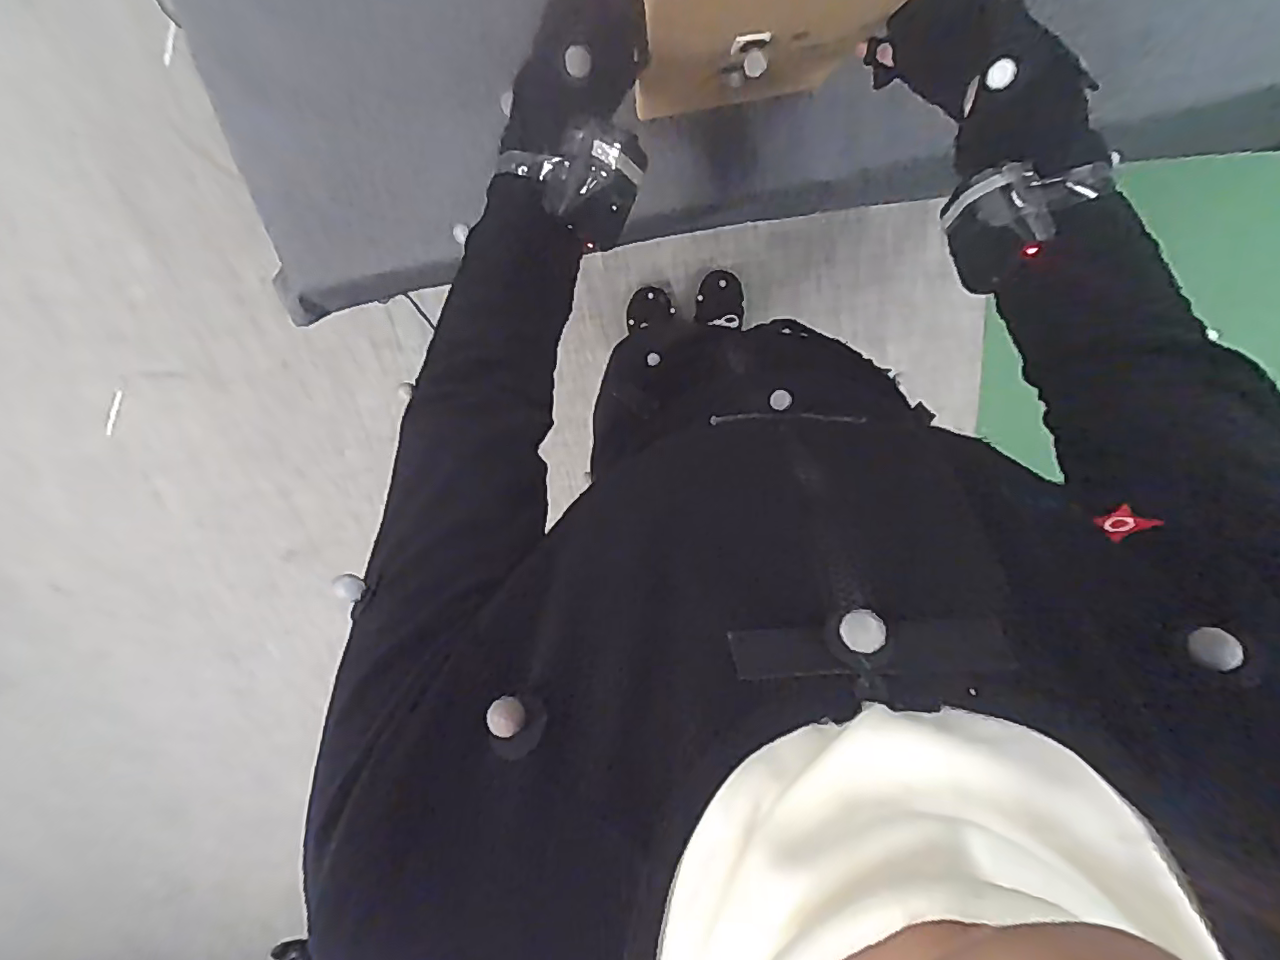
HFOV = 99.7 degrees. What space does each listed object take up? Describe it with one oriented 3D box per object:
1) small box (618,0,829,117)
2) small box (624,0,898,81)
[{"bbox_3d":[0.068,-0.416,0.436,0.179,0.176,0.168,-8,113,3],"label":"small box"},{"bbox_3d":[0.064,-0.351,0.288,0.168,0.176,0.179,-7,113,5],"label":"small box"}]
